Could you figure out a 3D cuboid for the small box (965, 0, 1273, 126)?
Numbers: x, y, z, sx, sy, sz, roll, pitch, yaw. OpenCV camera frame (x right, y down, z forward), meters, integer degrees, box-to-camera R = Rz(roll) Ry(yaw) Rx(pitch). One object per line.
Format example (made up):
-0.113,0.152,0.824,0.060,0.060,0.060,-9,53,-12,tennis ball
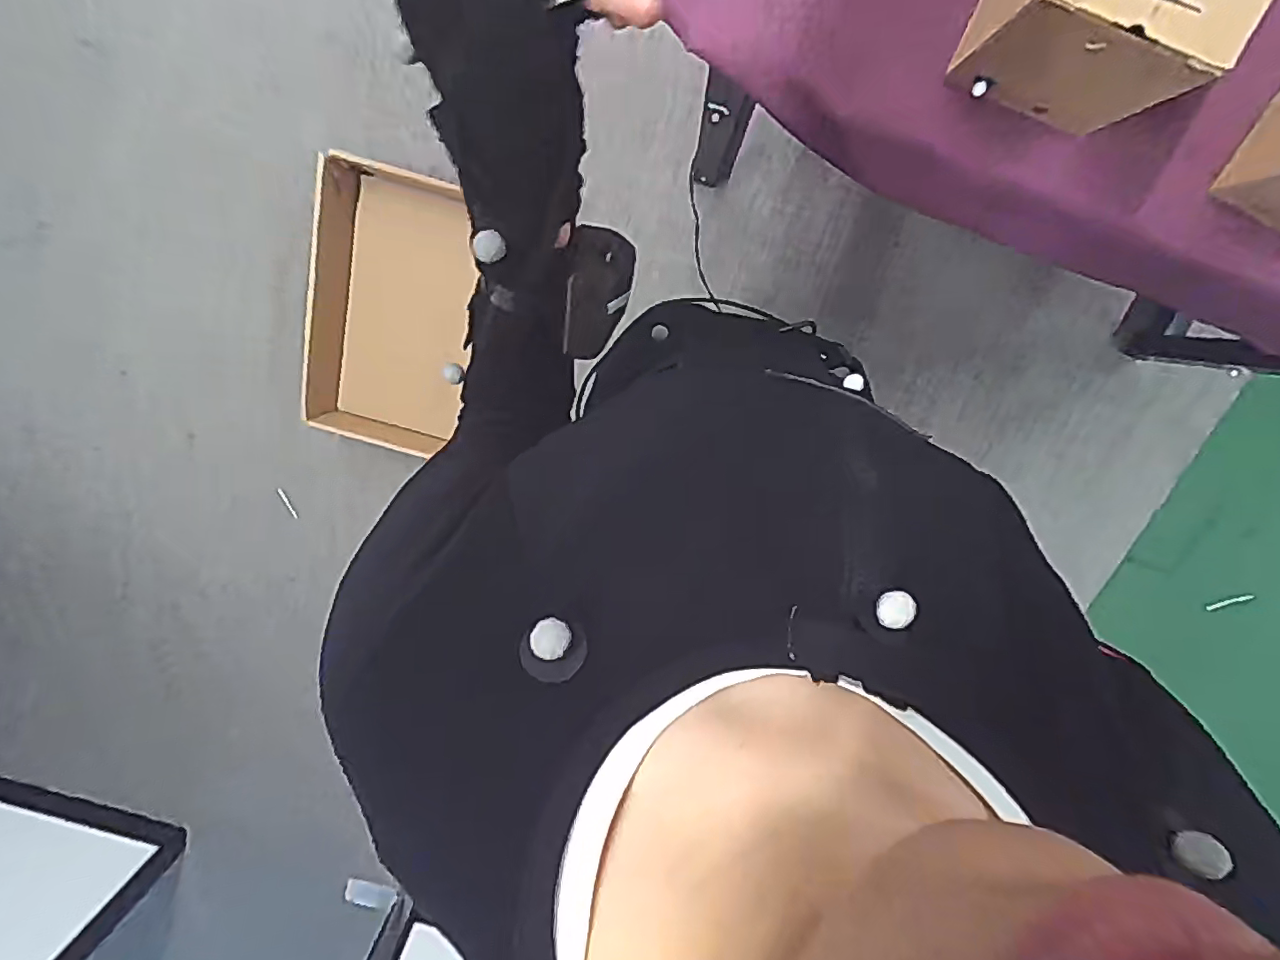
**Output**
0.428,-0.452,0.475,0.168,0.176,0.179,22,108,-3,small box

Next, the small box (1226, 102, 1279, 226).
0.728,-0.334,0.493,0.168,0.176,0.179,25,108,-4,small box
